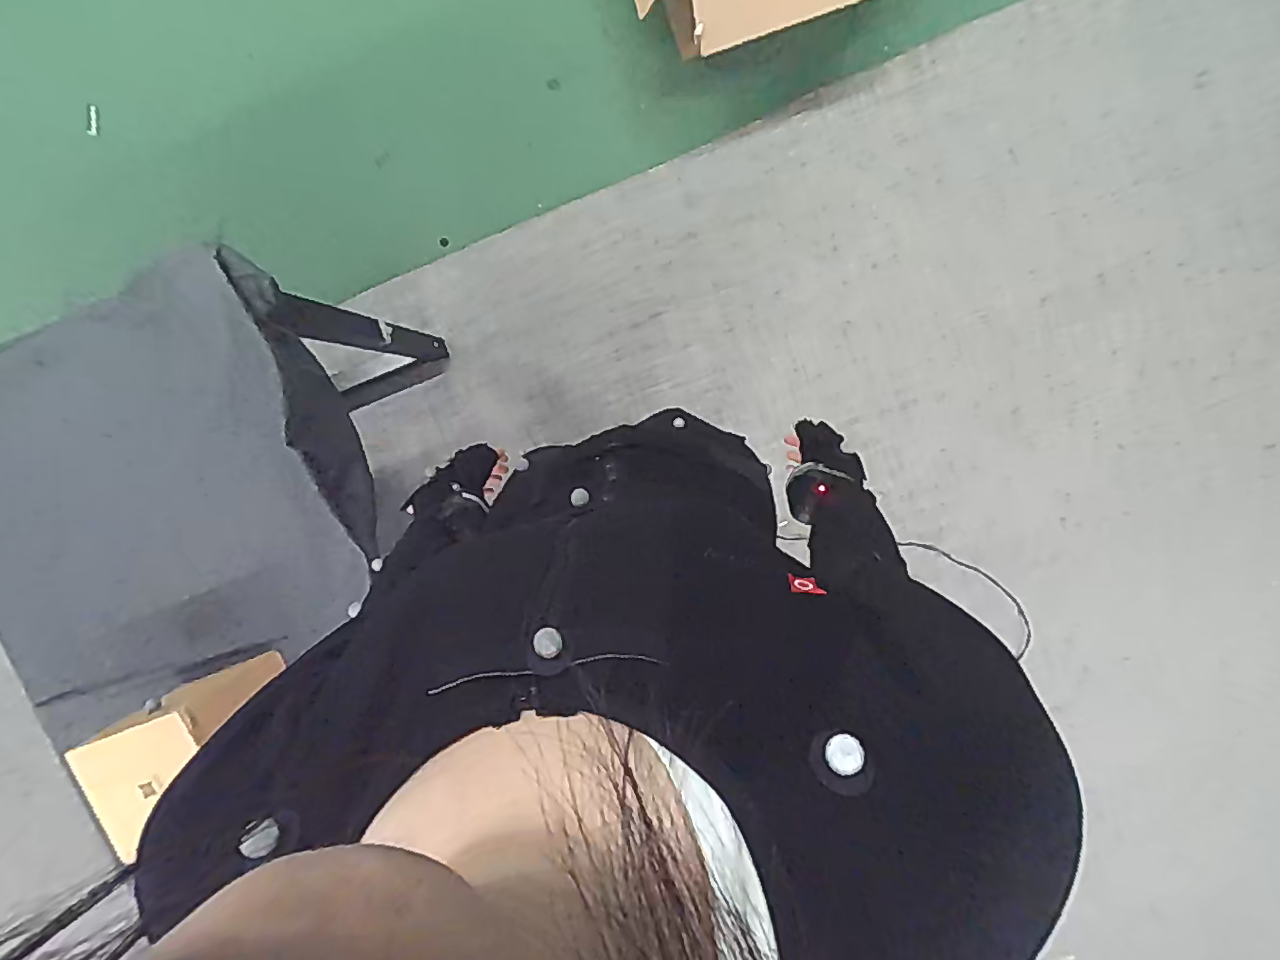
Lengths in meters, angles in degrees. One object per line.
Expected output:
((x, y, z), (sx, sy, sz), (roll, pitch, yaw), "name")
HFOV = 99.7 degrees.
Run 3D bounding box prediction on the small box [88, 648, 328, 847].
((-0.600, 0.369, 0.774), (0.179, 0.176, 0.168), (-22, 95, 6), "small box")
